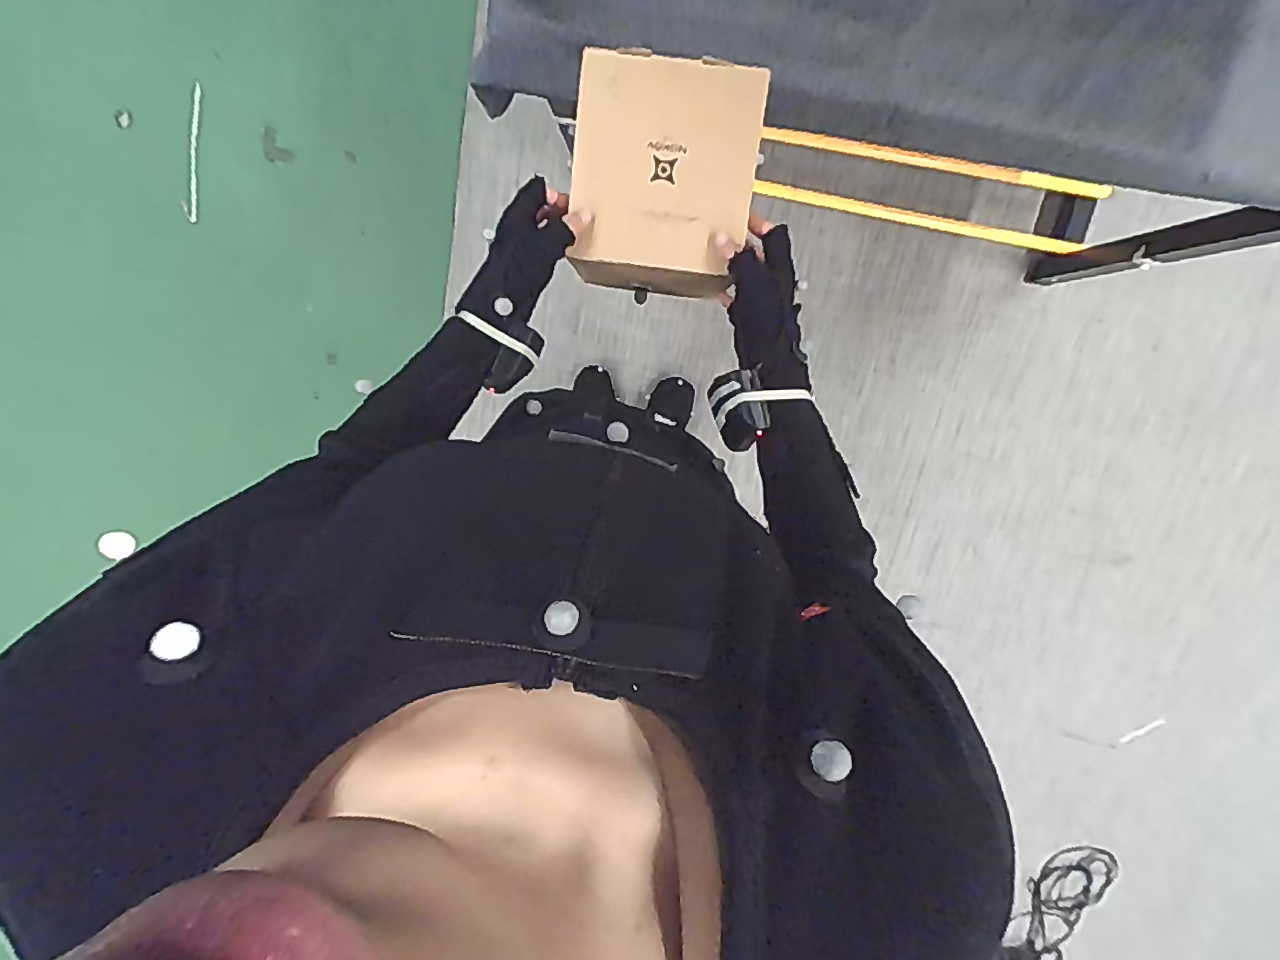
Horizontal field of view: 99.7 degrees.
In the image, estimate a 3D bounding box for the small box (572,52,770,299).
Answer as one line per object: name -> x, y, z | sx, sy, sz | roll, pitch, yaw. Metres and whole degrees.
small box -> 0.027, -0.301, 0.573 | 0.168, 0.176, 0.179 | 7, 102, 1
